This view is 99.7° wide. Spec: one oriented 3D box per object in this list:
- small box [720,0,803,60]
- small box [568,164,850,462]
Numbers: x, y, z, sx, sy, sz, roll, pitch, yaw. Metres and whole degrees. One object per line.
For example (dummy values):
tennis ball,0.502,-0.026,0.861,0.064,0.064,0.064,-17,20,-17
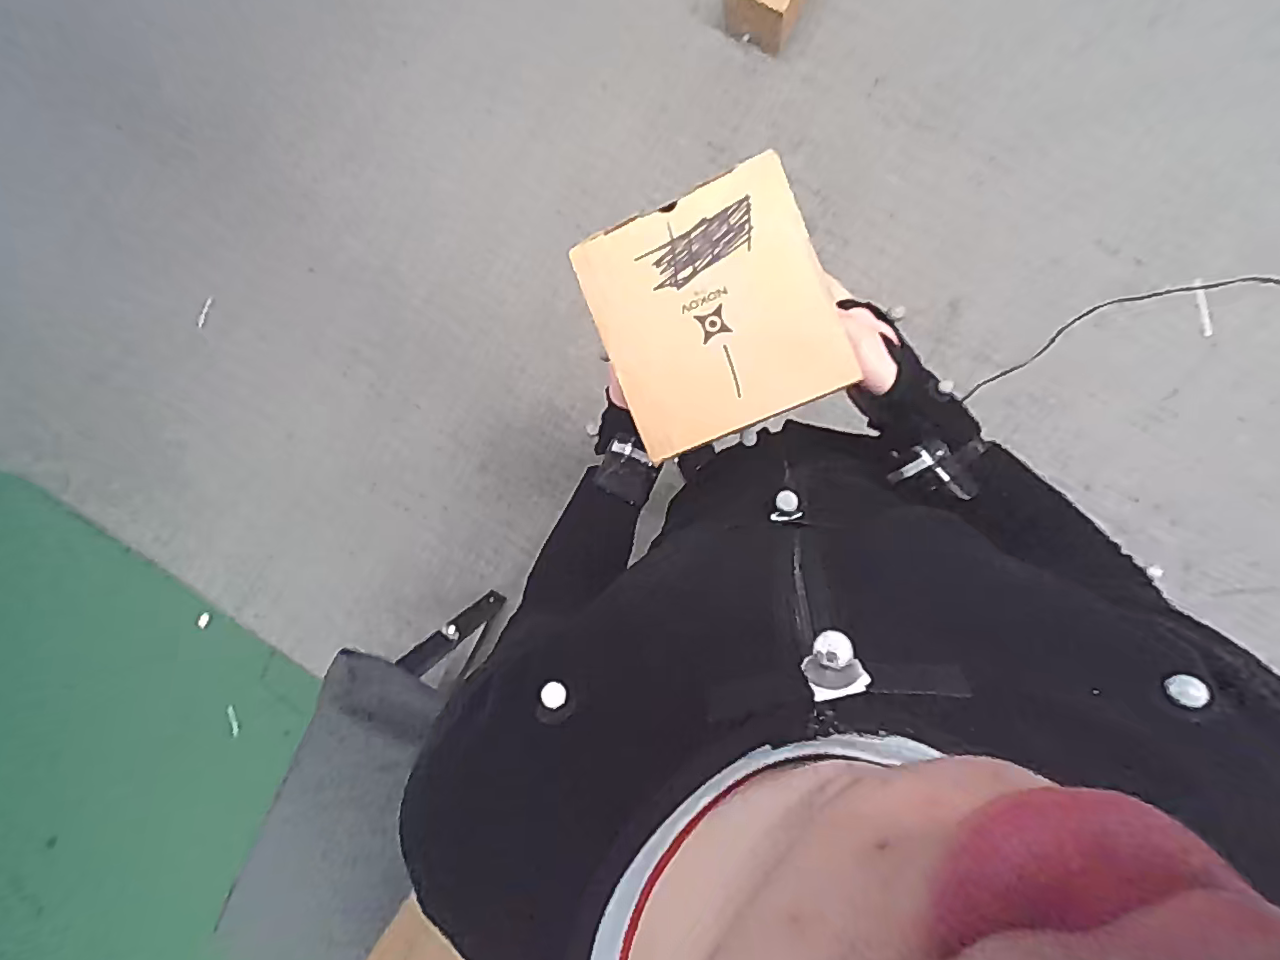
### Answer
small box,0.301,-1.189,1.314,0.168,0.176,0.179,29,101,6
small box,0.060,-0.127,0.479,0.168,0.176,0.179,-21,92,11
